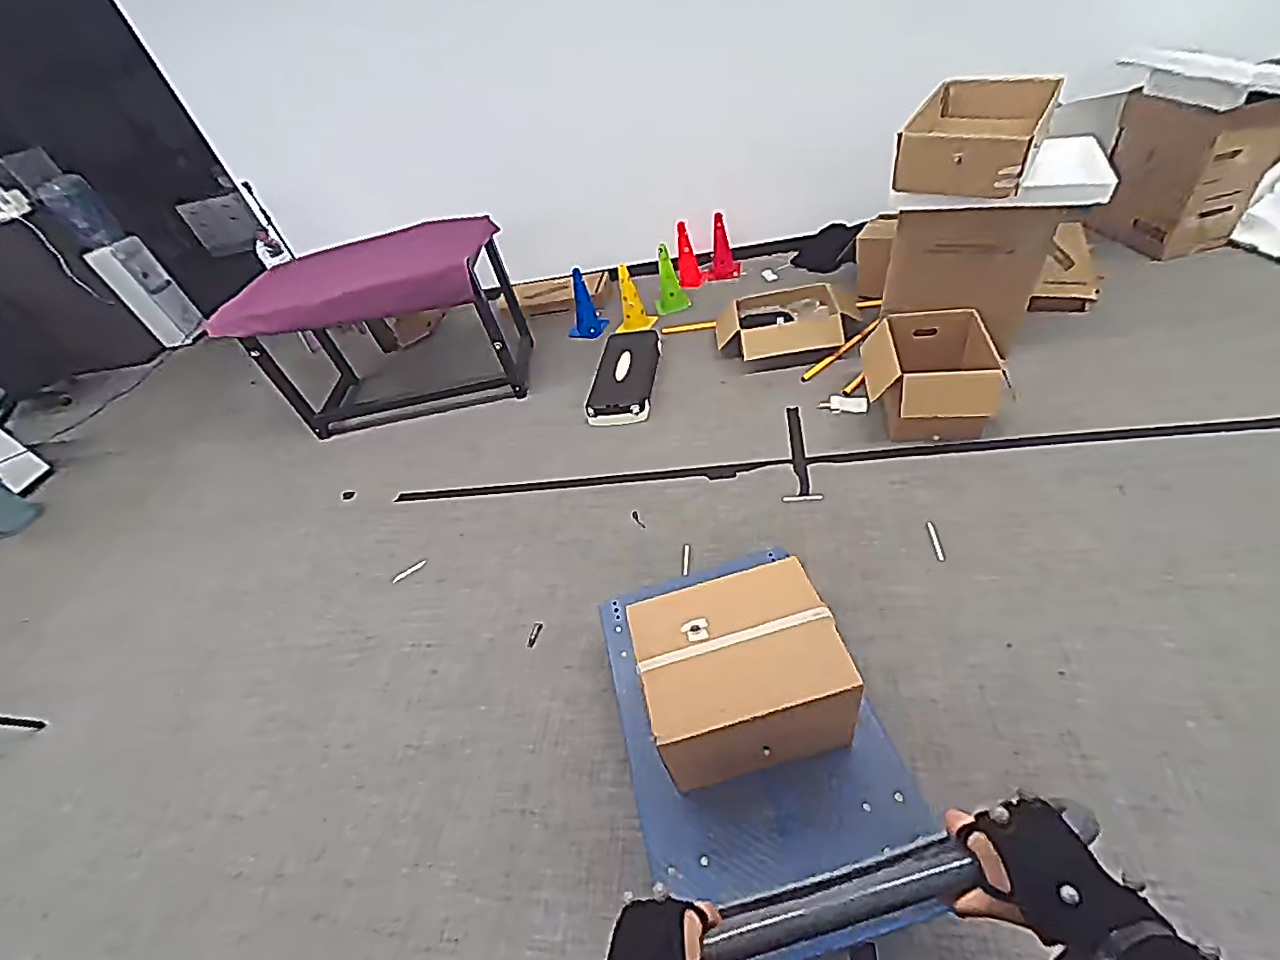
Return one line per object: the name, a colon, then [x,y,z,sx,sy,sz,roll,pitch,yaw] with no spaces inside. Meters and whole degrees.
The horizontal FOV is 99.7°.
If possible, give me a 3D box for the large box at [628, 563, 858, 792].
large box: [0.225,0.449,1.226,0.408,0.320,0.320,-17,43,0]
